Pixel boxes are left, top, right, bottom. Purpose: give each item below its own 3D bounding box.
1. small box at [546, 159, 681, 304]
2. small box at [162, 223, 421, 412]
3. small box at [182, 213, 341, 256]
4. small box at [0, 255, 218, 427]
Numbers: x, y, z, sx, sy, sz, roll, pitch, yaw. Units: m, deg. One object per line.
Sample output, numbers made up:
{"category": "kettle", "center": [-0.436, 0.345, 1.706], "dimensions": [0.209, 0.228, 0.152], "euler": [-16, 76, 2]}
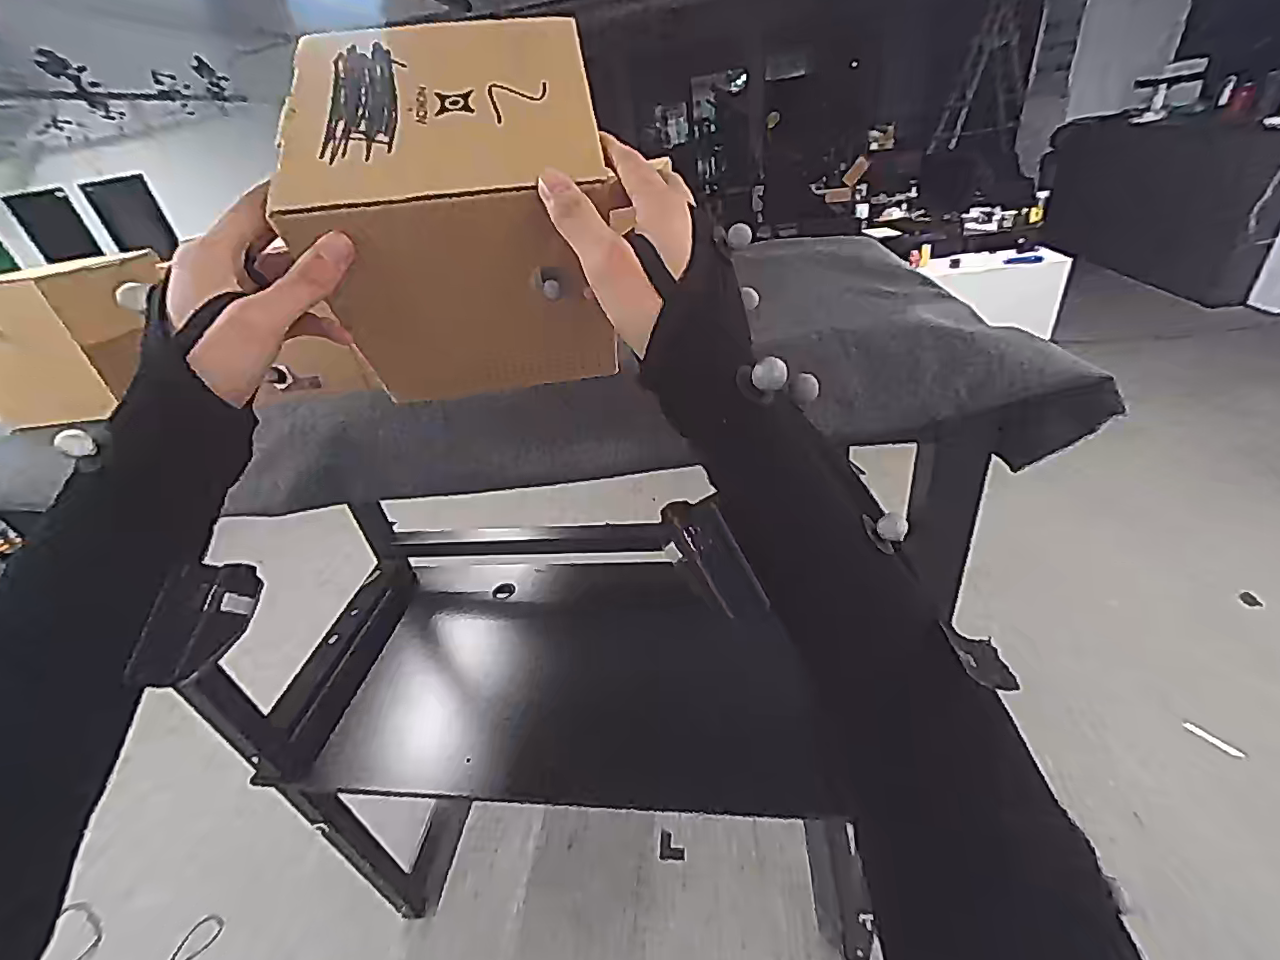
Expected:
{"category": "small box", "center": [-0.028, -0.378, 0.834], "dimensions": [0.168, 0.176, 0.179], "euler": [-4, 33, 9]}
{"category": "small box", "center": [-0.386, -0.195, 0.644], "dimensions": [0.168, 0.176, 0.179], "euler": [-6, 32, 6]}
{"category": "small box", "center": [-0.598, -0.341, 0.920], "dimensions": [0.179, 0.176, 0.168], "euler": [-3, 34, 7]}
{"category": "small box", "center": [-0.713, -0.177, 0.696], "dimensions": [0.179, 0.176, 0.168], "euler": [-5, 32, 6]}
